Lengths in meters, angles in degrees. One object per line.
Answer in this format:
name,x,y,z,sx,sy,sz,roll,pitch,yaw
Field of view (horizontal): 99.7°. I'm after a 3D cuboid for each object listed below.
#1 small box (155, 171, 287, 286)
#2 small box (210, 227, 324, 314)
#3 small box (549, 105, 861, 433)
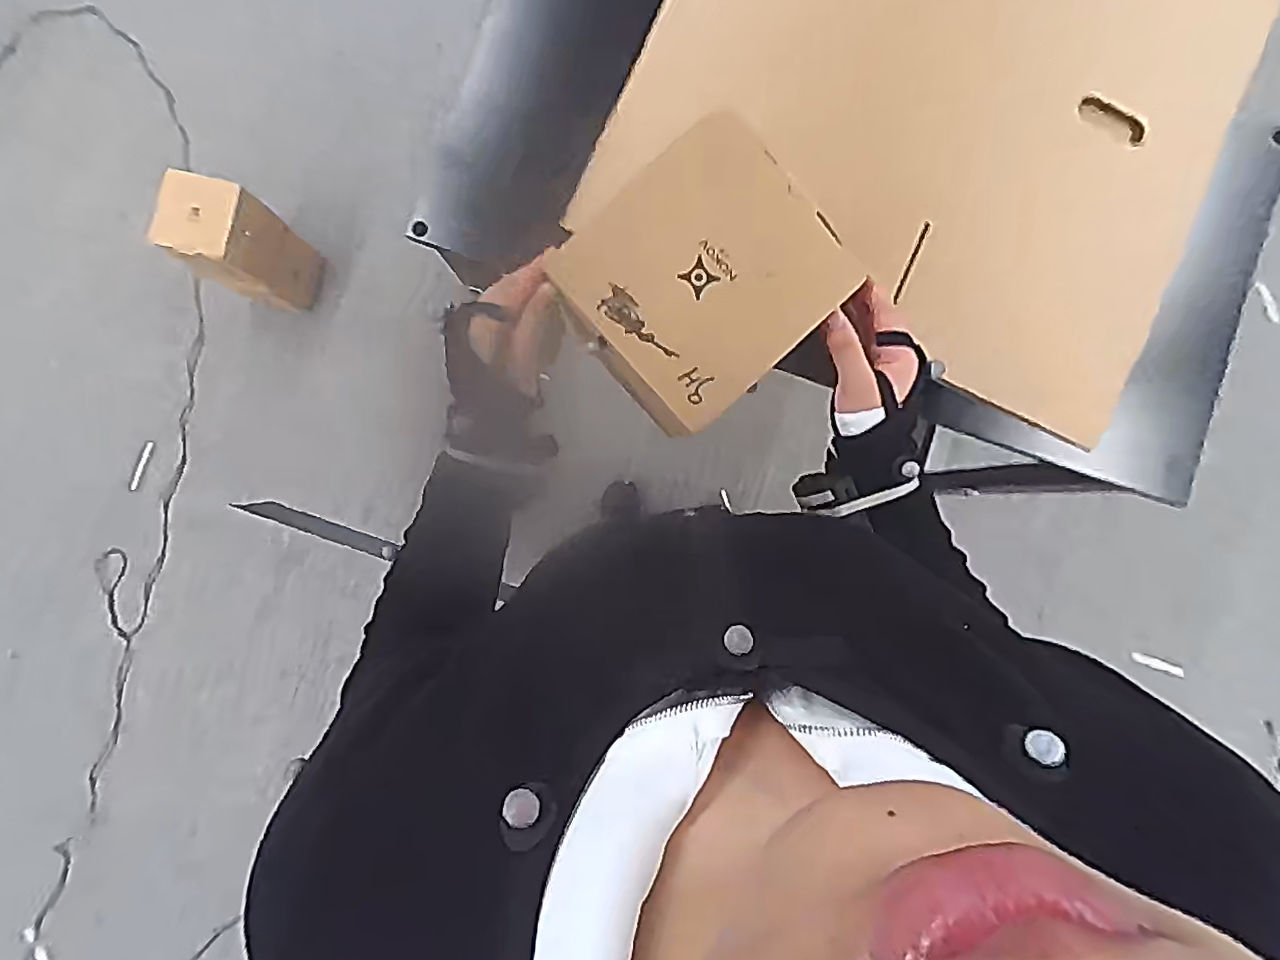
small box,-0.976,-0.582,1.275,0.168,0.176,0.179,12,86,-2
small box,-0.978,-0.569,1.438,0.168,0.176,0.179,15,88,0
small box,0.044,-0.158,0.472,0.179,0.176,0.168,-43,93,-1
